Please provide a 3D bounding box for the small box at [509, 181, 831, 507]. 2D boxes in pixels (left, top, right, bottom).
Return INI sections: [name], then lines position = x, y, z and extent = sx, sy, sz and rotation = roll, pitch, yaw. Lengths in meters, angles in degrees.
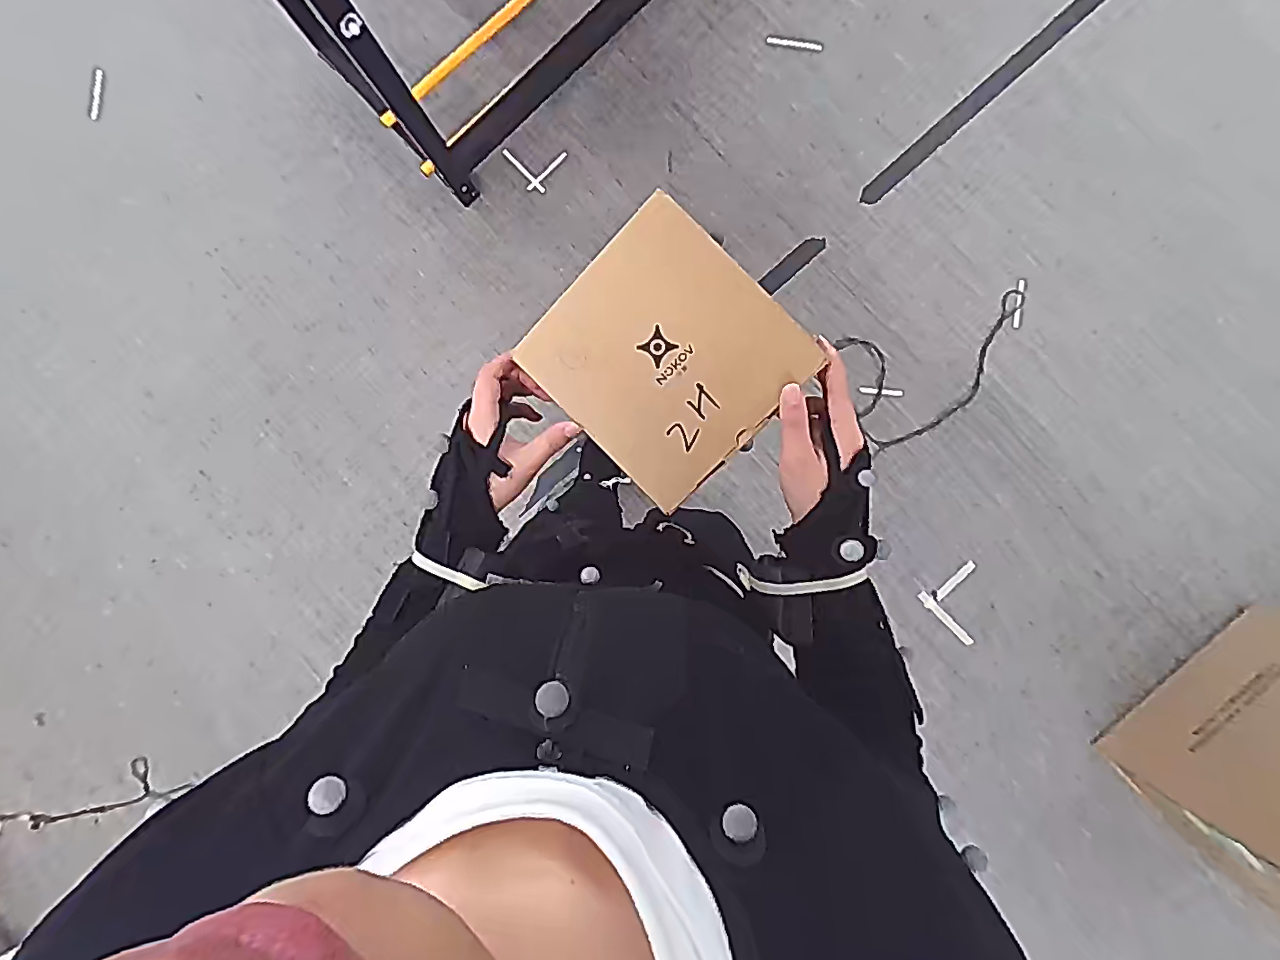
[small box]
position = 0.027, -0.102, 0.465
extent = 0.168, 0.176, 0.179
rotation = -44, 90, 10
